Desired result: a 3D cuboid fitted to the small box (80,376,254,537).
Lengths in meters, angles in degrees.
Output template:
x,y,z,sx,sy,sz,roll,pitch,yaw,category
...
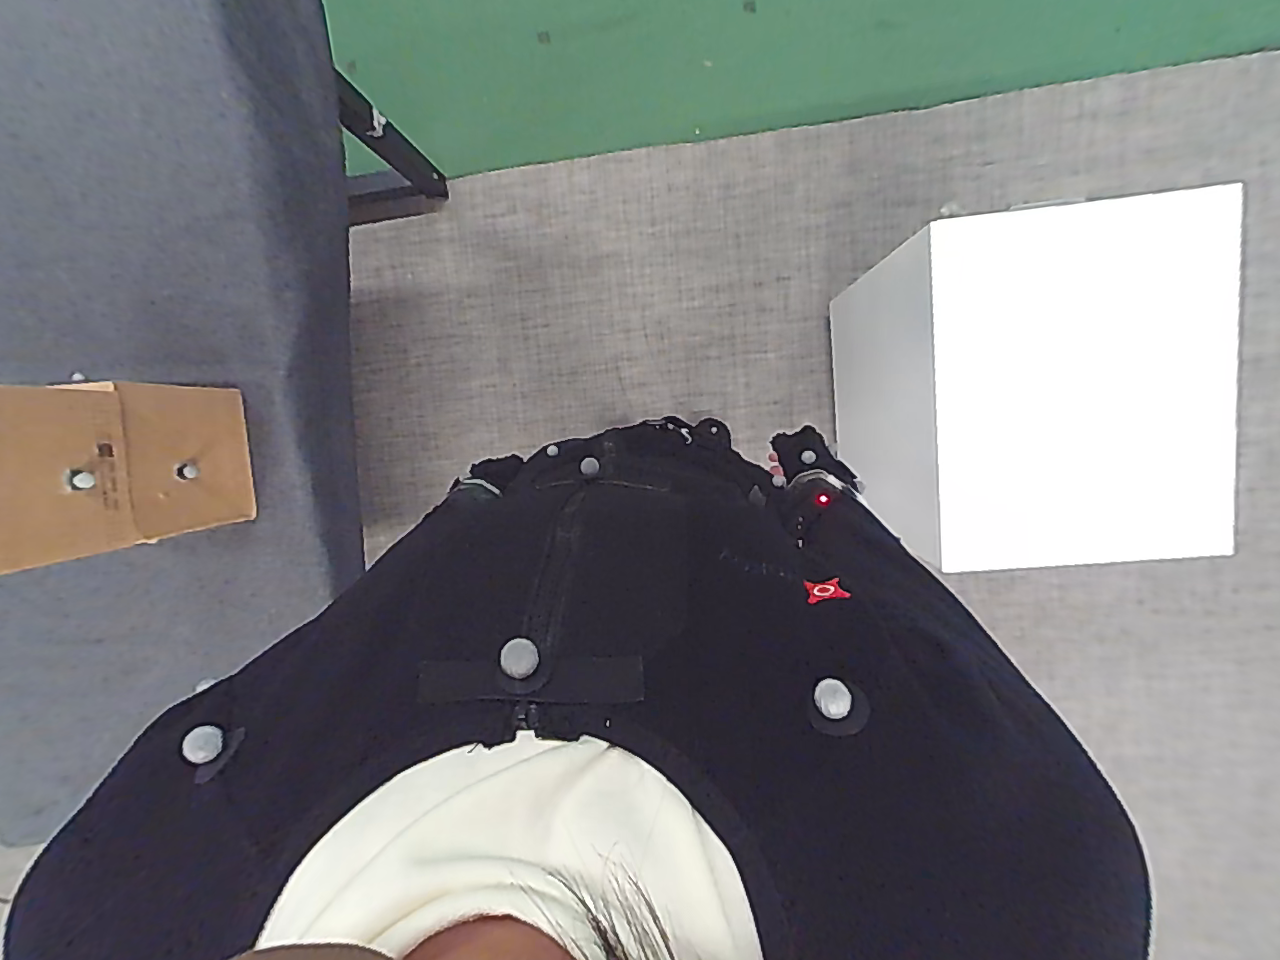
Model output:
x,y,z,sx,sy,sz,roll,pitch,yaw,category
-0.620,-0.034,0.668,0.168,0.176,0.179,-2,97,6,small box
